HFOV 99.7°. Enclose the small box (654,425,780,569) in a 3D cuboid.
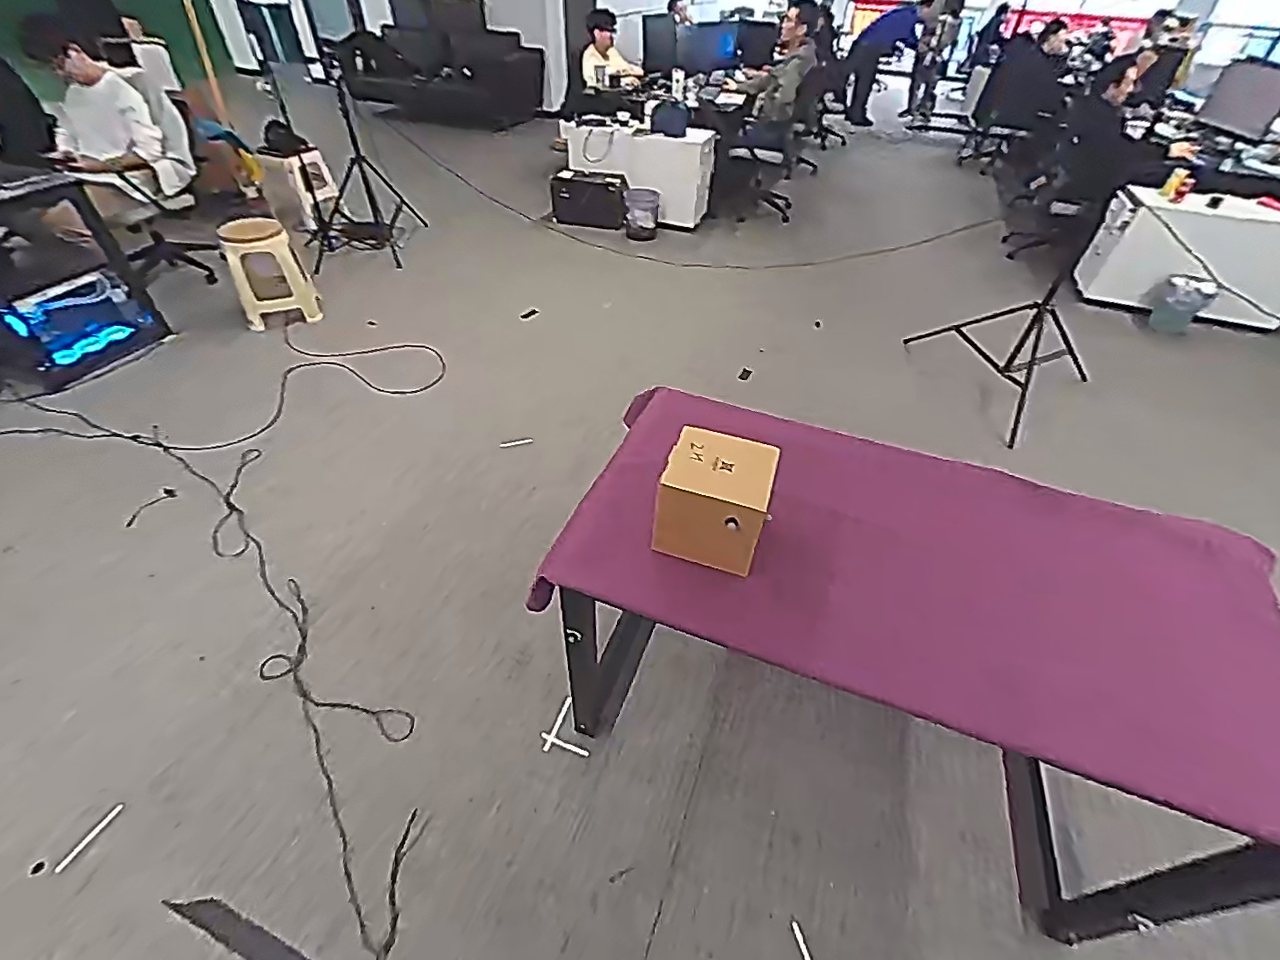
[{"bbox_3d":[0.132,0.033,0.954,0.179,0.176,0.168,14,44,12],"label":"small box"}]
